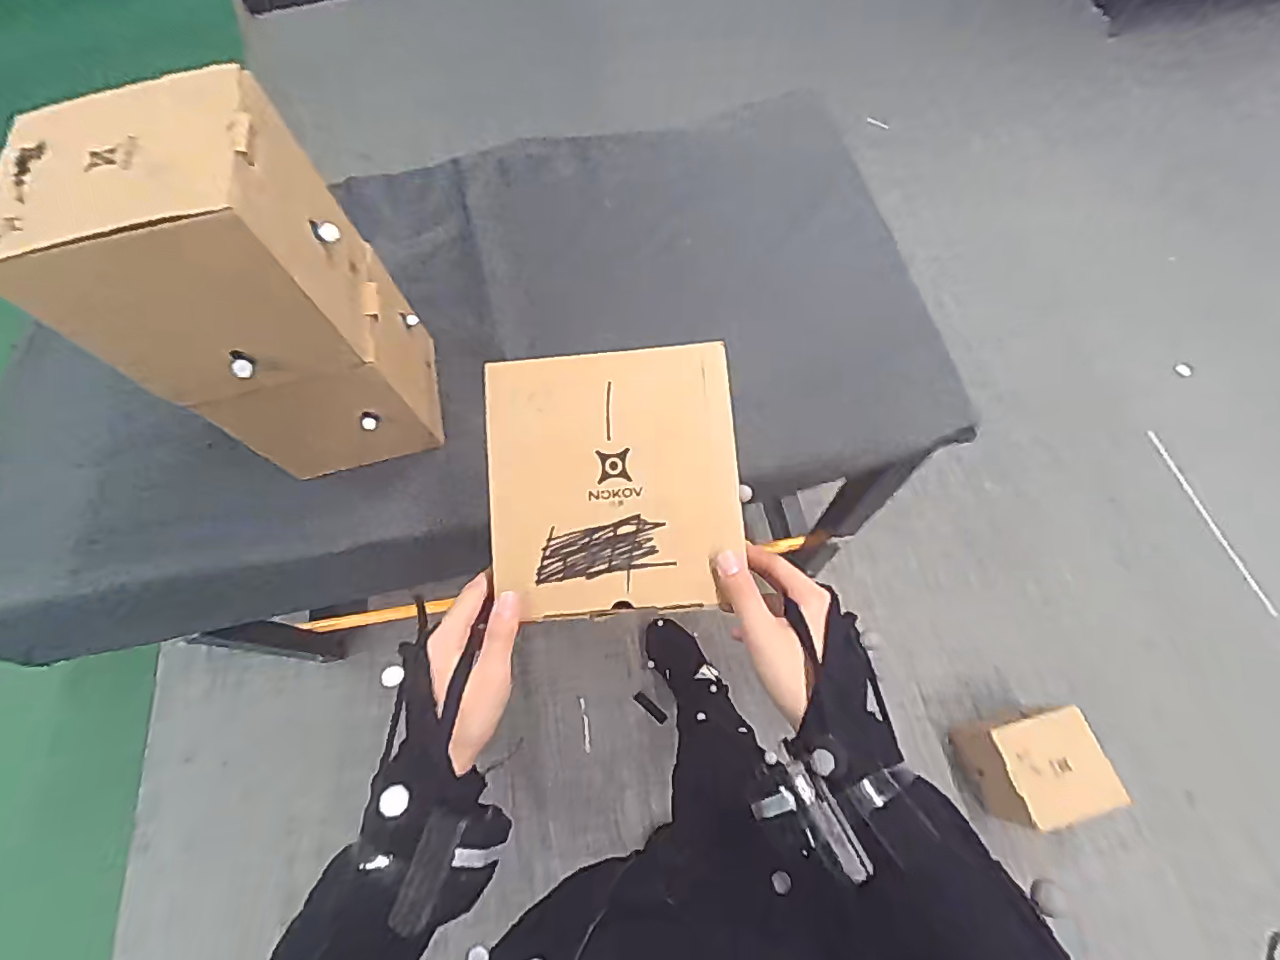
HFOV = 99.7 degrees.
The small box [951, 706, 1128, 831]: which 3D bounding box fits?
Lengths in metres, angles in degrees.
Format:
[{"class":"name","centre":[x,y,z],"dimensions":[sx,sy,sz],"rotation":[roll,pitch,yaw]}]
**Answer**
[{"class":"small box","centre":[0.742,0.537,1.028],"dimensions":[0.179,0.176,0.168],"rotation":[-16,66,-2]}]

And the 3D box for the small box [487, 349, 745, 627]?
[{"class":"small box","centre":[-0.014,0.013,0.431],"dimensions":[0.168,0.176,0.179],"rotation":[-4,82,2]}]

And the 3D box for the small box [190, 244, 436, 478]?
[{"class":"small box","centre":[-0.343,-0.123,0.605],"dimensions":[0.179,0.176,0.168],"rotation":[-15,65,-2]}]

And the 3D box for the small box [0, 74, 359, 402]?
[{"class":"small box","centre":[-0.359,-0.190,0.455],"dimensions":[0.179,0.176,0.168],"rotation":[-14,65,-3]}]
